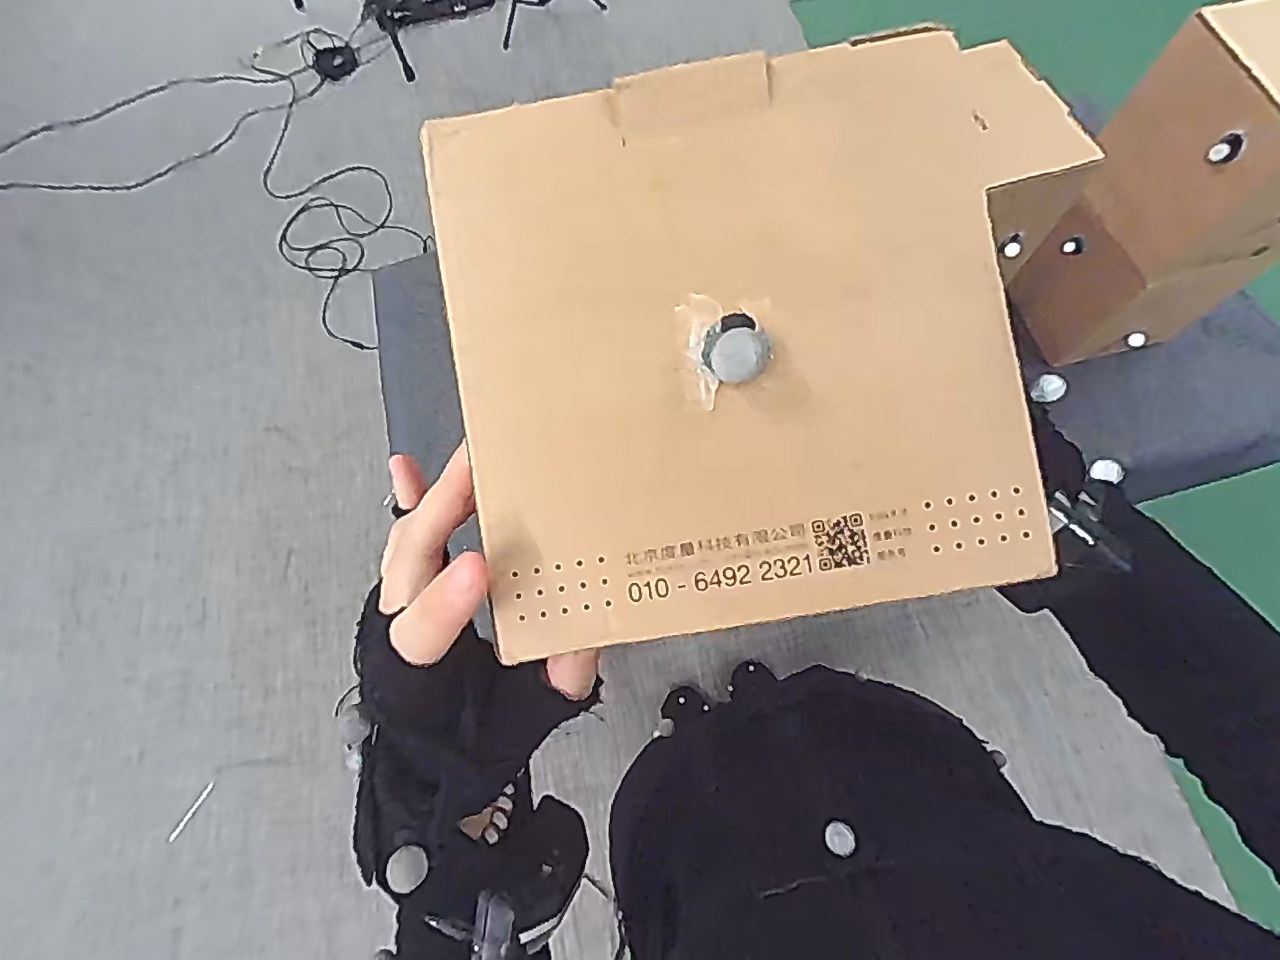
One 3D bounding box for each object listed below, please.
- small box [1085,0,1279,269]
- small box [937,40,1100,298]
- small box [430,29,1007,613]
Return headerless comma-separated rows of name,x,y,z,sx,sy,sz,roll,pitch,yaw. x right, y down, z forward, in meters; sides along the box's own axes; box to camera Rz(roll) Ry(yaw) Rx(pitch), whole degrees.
small box,0.602,-0.334,0.538,0.168,0.176,0.179,-11,69,1
small box,0.286,-0.286,0.547,0.179,0.176,0.168,-15,68,-1
small box,0.028,-0.042,0.248,0.168,0.179,0.176,-8,89,1
